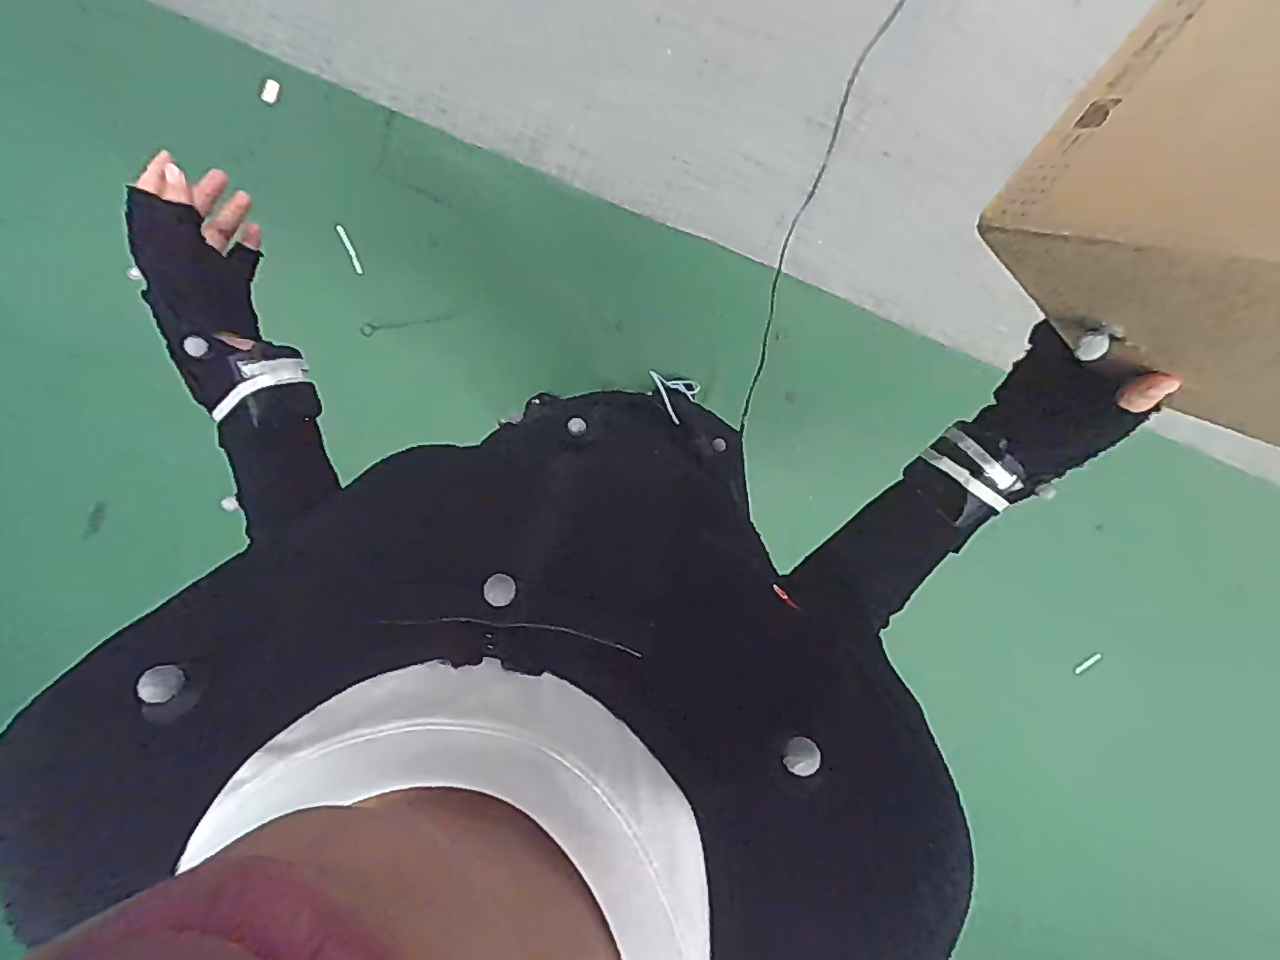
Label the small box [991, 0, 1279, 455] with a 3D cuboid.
[{"bbox_3d":[0.314,-0.120,0.242,0.179,0.176,0.168,28,108,-28],"label":"small box"}]
